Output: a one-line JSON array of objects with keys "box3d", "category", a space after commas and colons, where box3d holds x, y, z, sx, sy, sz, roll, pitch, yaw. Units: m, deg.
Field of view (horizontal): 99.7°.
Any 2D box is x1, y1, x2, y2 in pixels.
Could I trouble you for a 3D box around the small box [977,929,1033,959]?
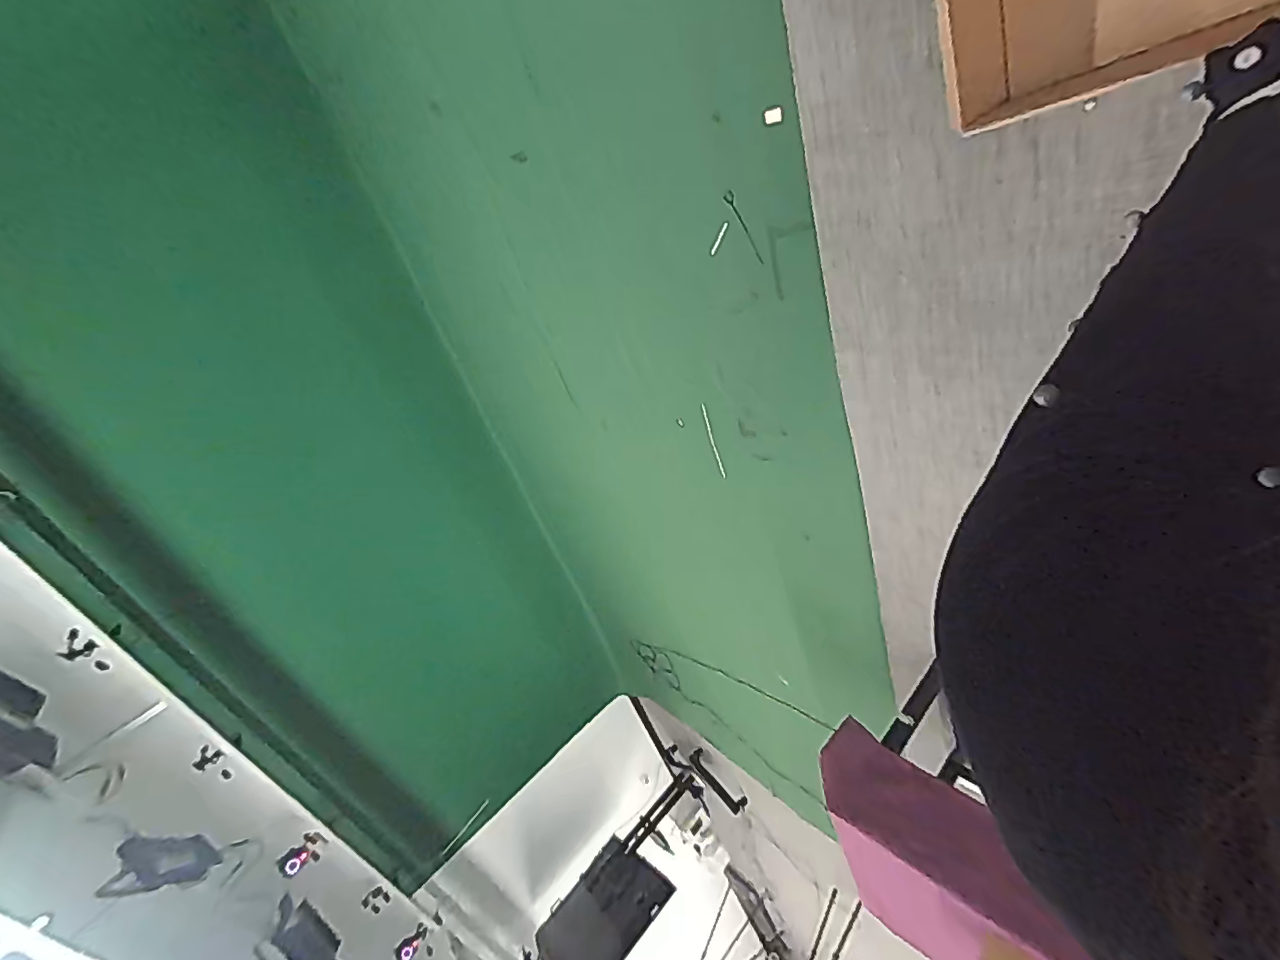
[{"box3d": [0.891, 1.229, 1.274, 0.179, 0.176, 0.168, 15, 135, 50], "category": "small box"}]
